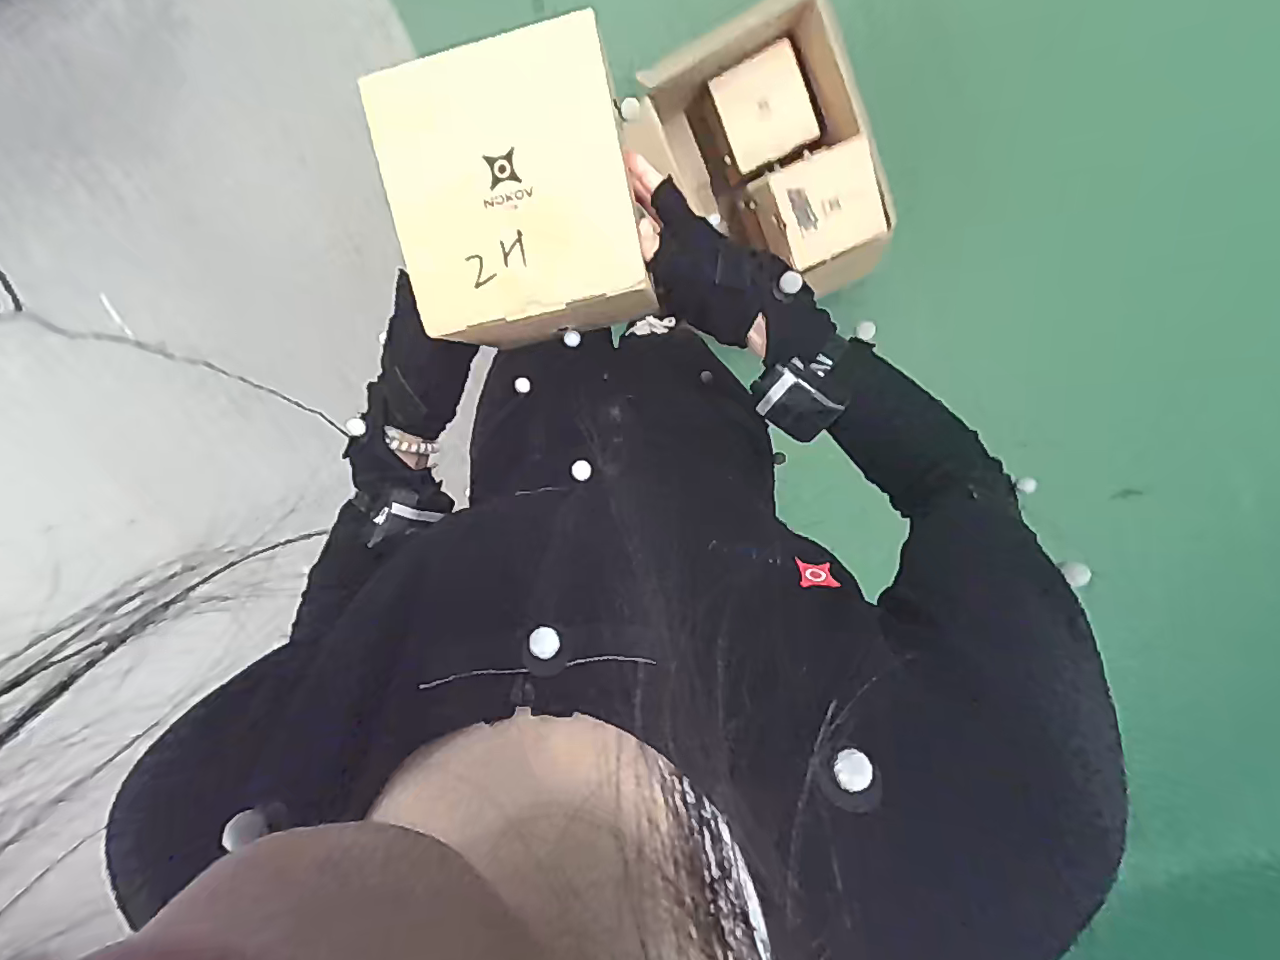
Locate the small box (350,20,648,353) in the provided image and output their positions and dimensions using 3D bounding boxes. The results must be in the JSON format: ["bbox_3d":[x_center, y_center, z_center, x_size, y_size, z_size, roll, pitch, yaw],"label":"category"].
[{"bbox_3d":[-0.092,-0.210,0.444,0.168,0.176,0.179,-12,100,7],"label":"small box"}]
